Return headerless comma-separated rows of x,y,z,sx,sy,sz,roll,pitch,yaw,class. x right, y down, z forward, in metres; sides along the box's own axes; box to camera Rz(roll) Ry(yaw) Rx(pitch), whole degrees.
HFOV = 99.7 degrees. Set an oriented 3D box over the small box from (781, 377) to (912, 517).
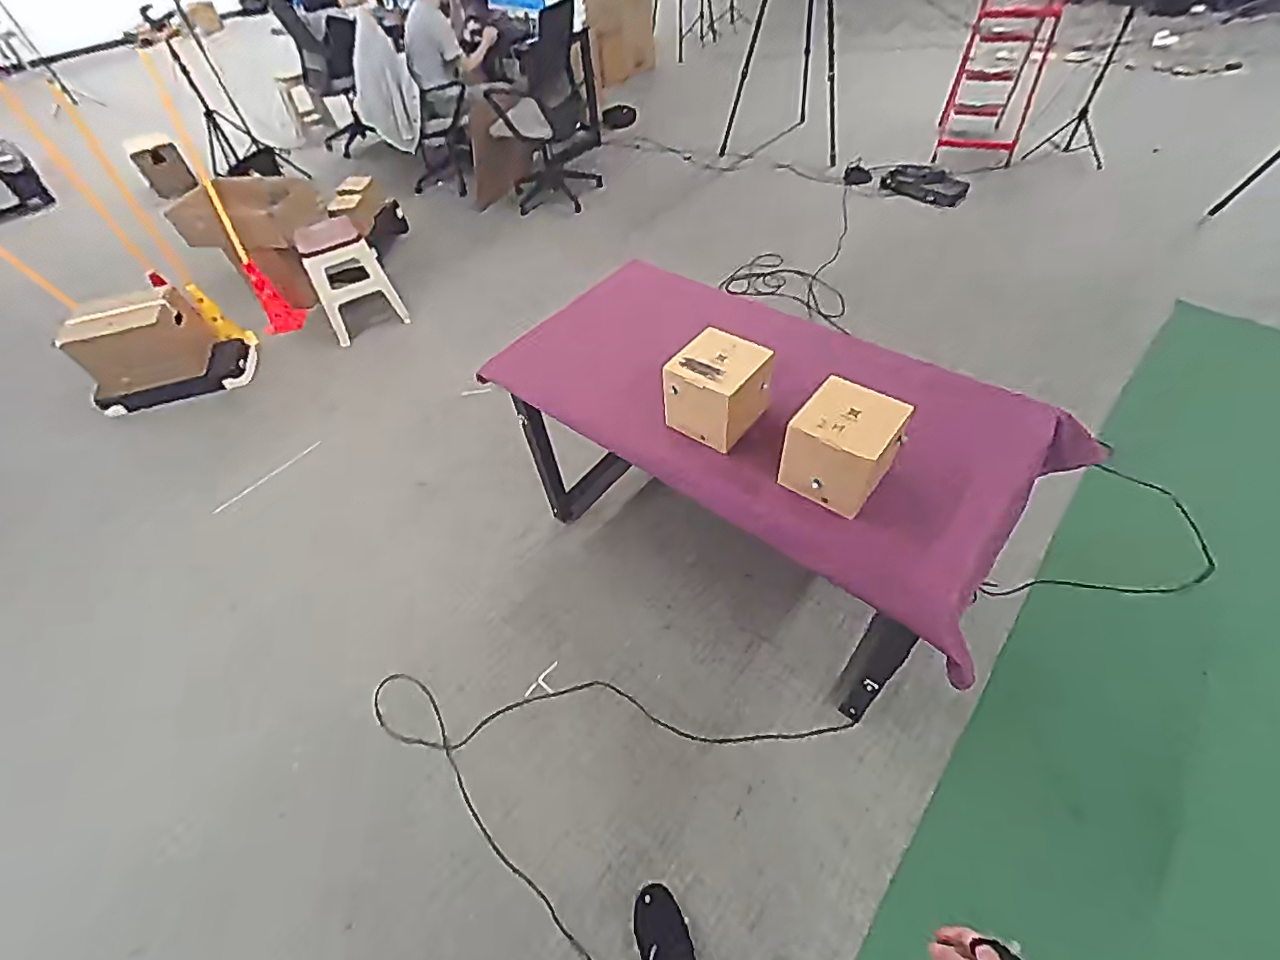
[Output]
0.390,-0.063,1.051,0.168,0.176,0.179,31,59,28,small box
